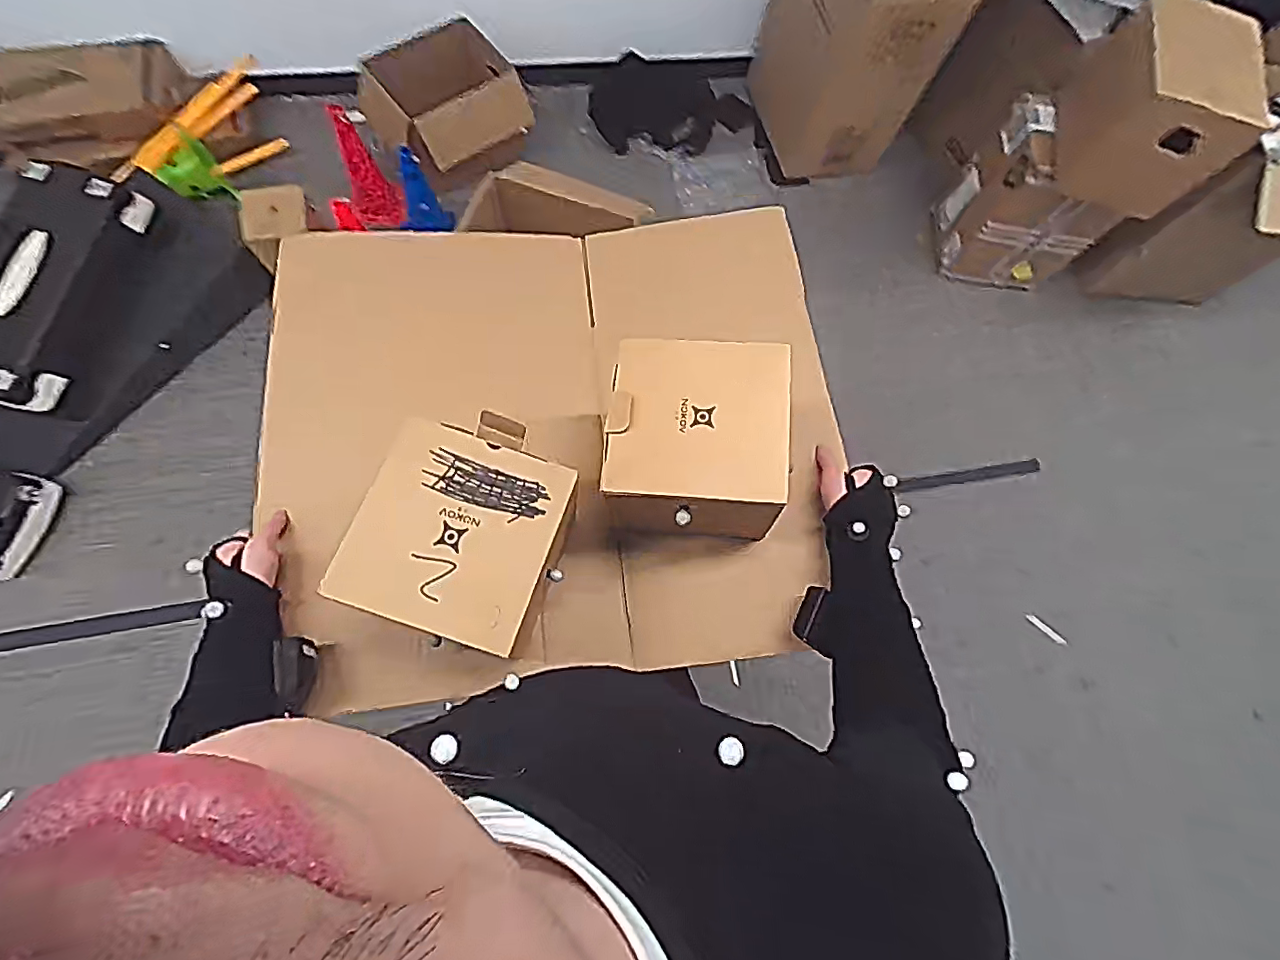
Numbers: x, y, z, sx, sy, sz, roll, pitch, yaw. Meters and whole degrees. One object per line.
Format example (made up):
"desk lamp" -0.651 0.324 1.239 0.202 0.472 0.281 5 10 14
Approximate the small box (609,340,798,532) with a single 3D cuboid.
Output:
"small box" 0.072 -0.039 0.608 0.179 0.176 0.168 4 74 8
